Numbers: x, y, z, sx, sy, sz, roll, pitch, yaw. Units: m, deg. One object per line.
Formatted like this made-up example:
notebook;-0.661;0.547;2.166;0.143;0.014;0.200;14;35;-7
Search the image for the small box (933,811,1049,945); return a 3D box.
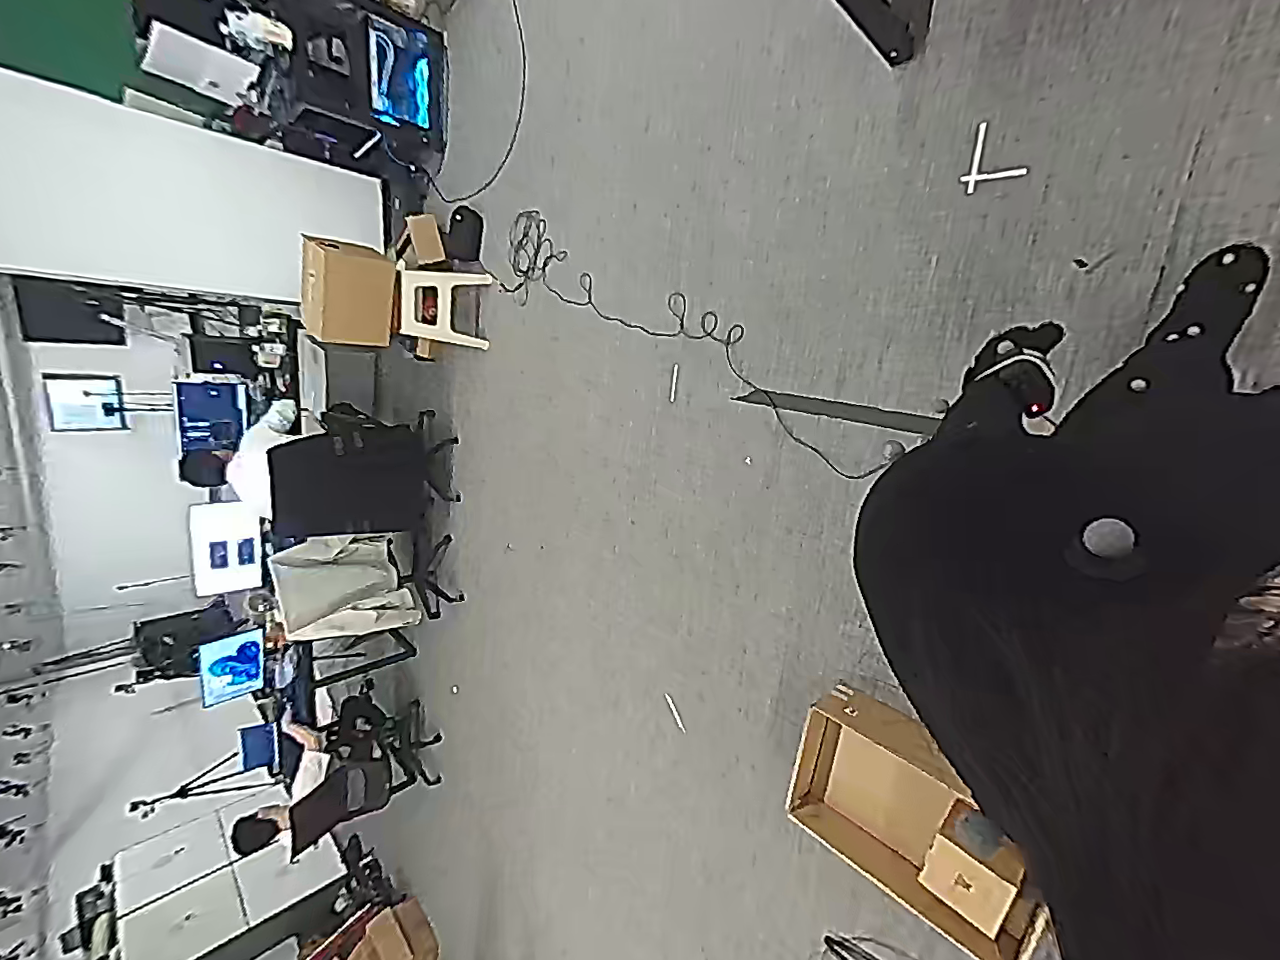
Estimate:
small box;0.855;0.952;1.318;0.179;0.176;0.168;24;113;41
